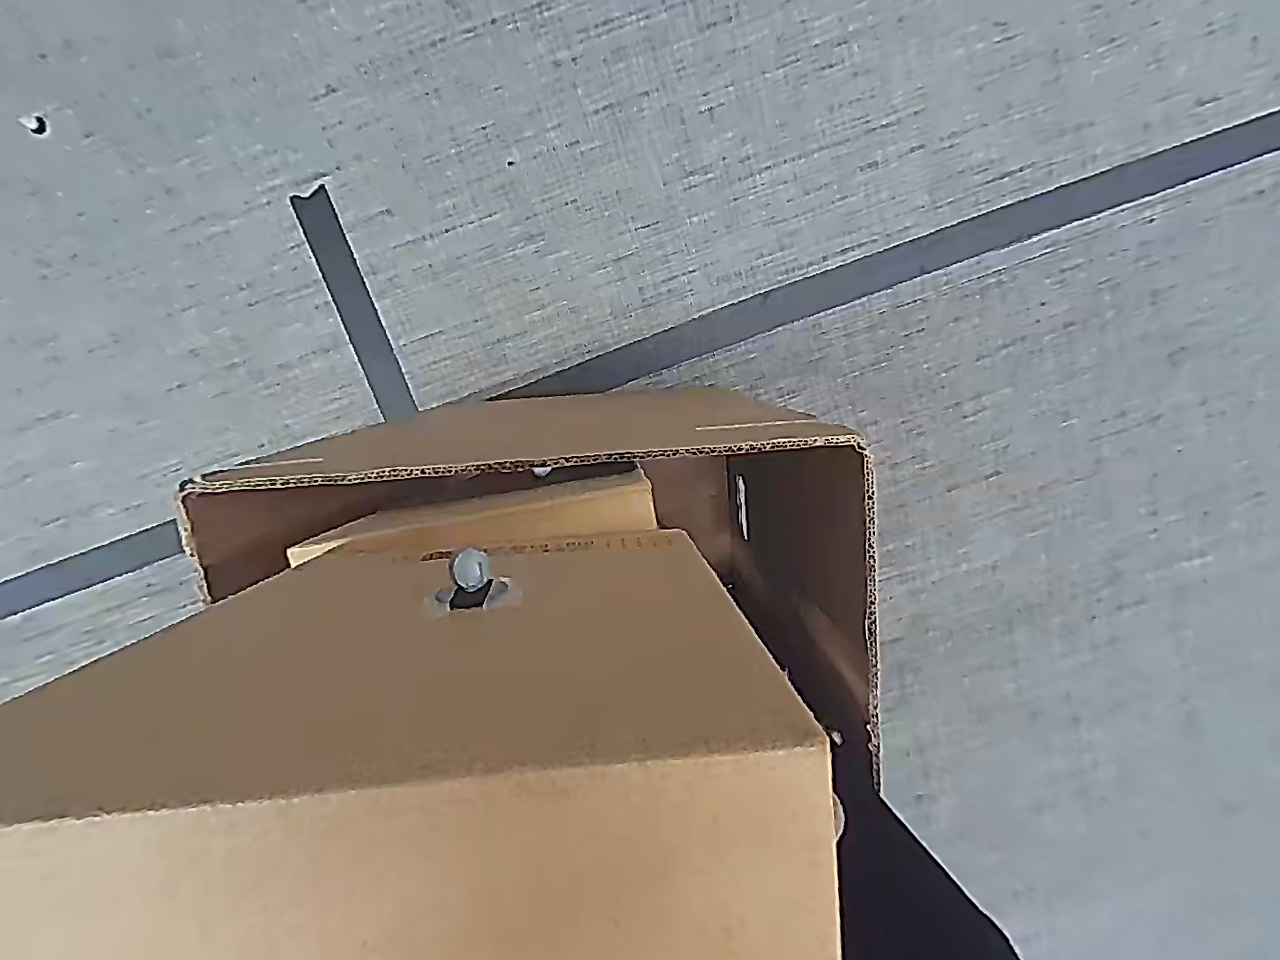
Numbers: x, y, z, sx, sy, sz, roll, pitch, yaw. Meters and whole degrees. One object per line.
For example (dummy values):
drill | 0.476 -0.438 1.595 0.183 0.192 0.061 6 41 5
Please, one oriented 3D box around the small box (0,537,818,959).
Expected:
small box | -0.054 0.118 0.173 0.168 0.176 0.179 -3 97 -2
